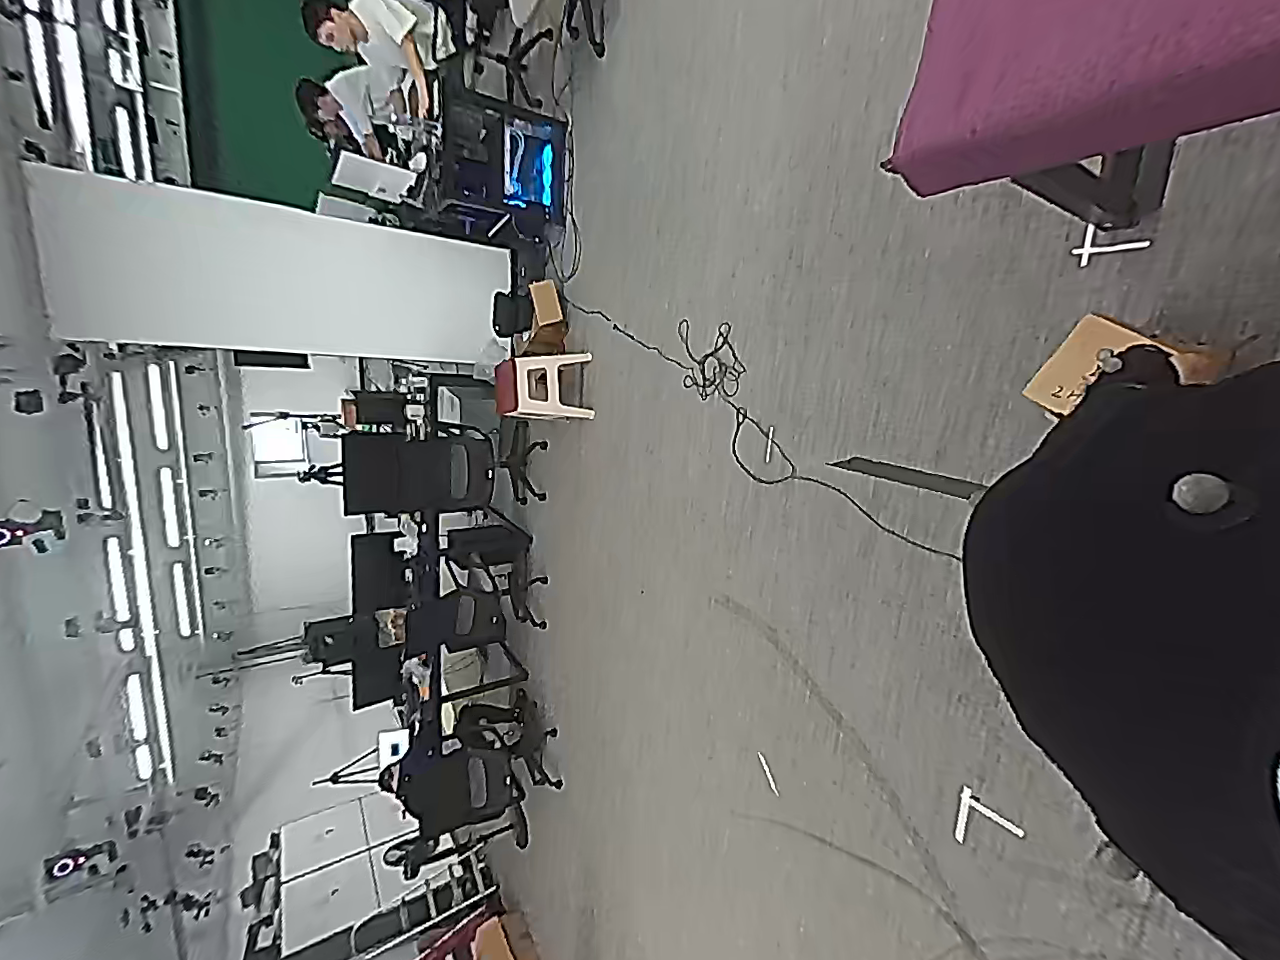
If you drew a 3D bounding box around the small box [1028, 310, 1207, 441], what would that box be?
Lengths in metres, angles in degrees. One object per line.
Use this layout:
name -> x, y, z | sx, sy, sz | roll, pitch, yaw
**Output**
small box -> 0.886, -0.193, 1.003 | 0.168, 0.176, 0.179 | 54, 137, 38
